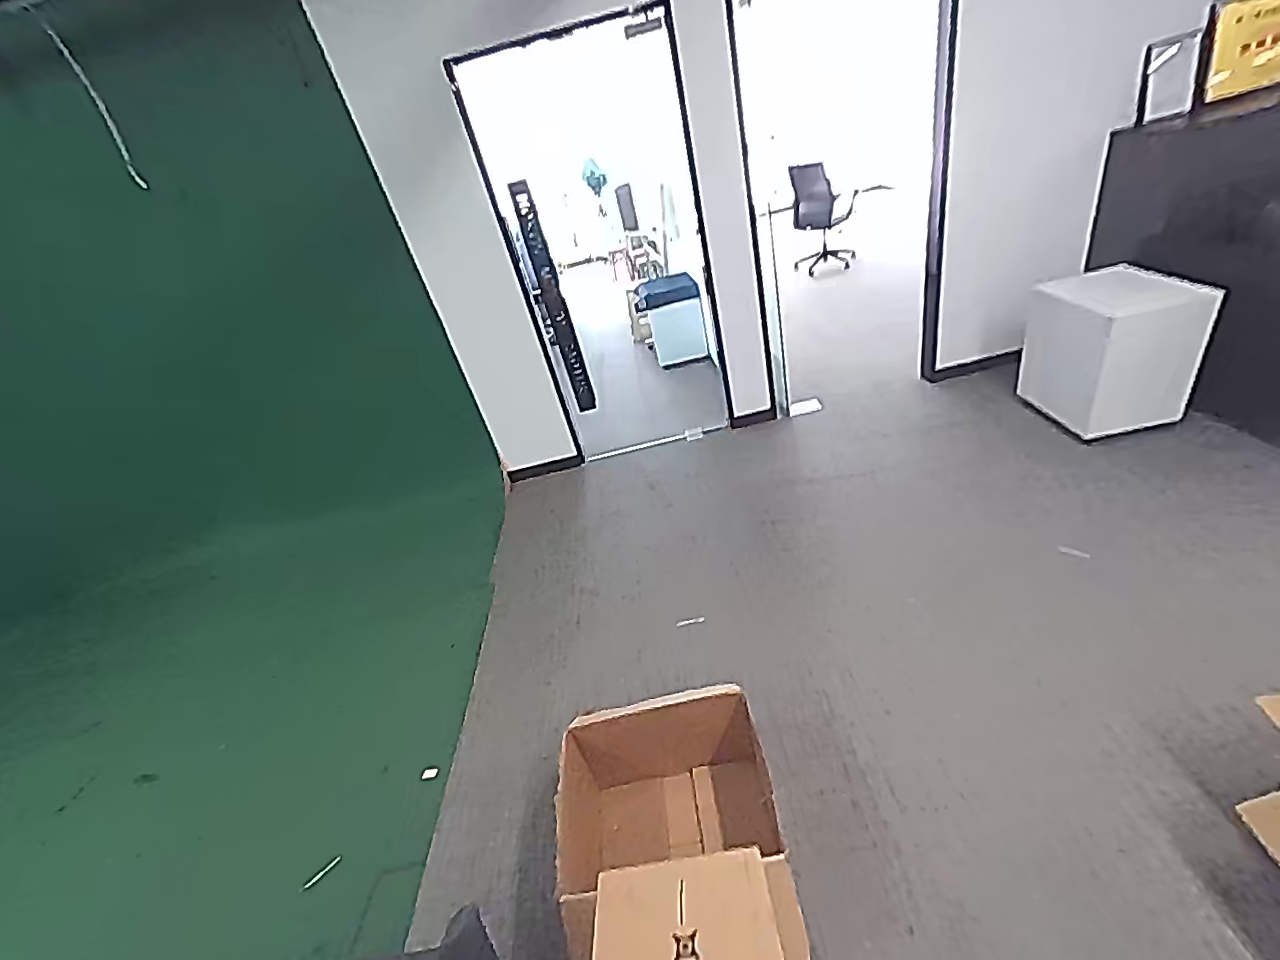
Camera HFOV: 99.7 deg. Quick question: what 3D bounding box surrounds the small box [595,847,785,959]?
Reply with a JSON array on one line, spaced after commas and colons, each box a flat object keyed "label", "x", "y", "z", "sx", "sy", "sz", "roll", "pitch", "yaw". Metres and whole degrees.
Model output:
[{"label": "small box", "x": 0.056, "y": 0.481, "z": 0.485, "sx": 0.168, "sy": 0.176, "sz": 0.179, "roll": -10, "pitch": 15, "yaw": 4}]
